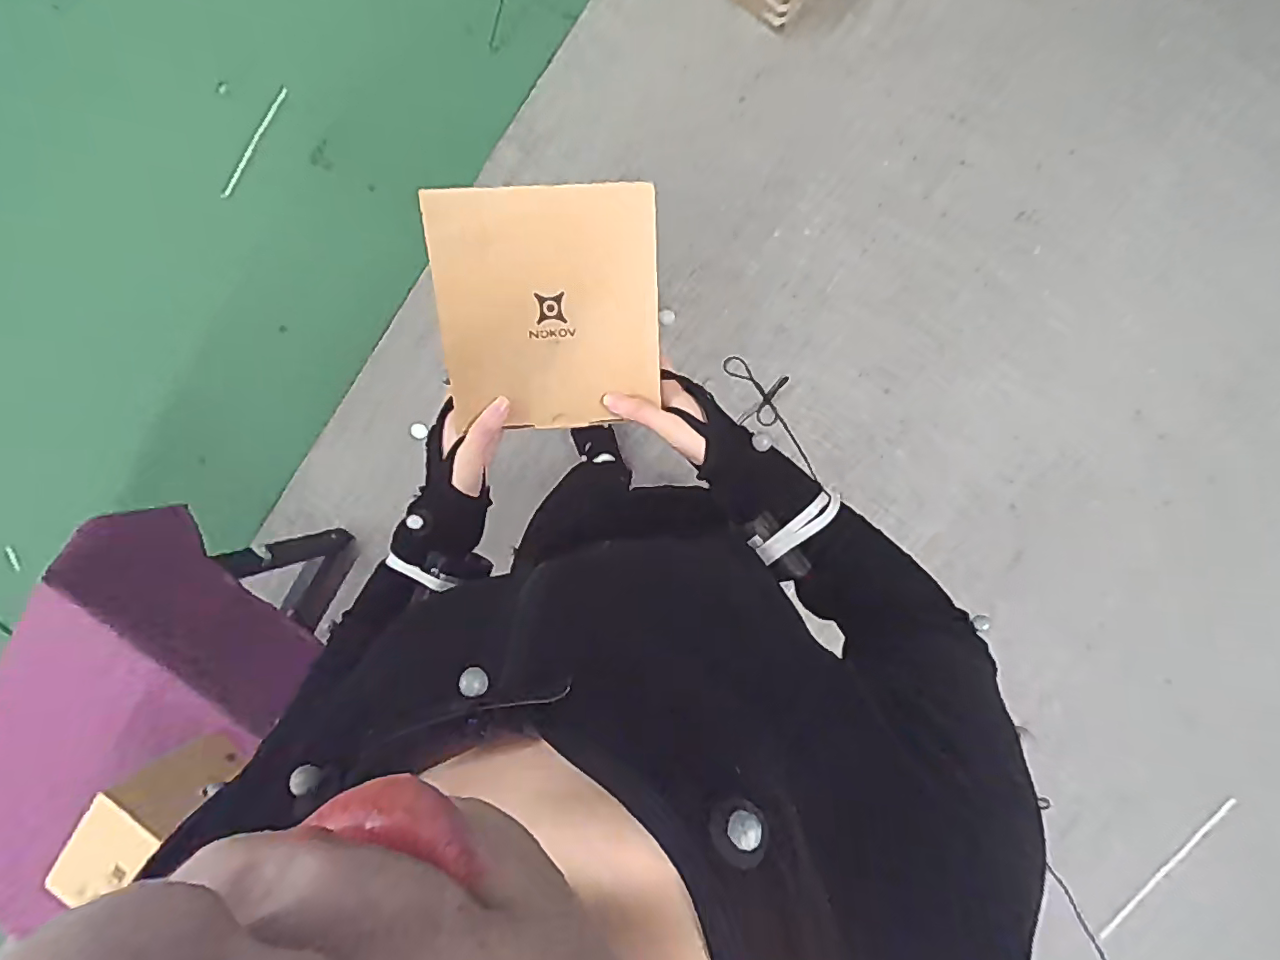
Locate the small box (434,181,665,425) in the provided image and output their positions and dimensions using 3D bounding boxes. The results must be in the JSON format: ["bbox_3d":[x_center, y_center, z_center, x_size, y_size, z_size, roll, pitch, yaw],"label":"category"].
[{"bbox_3d":[-0.070,-0.158,0.485,0.168,0.176,0.179,-3,113,-5],"label":"small box"}]

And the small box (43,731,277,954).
[{"bbox_3d":[-0.688,0.516,0.799,0.168,0.176,0.179,37,97,4],"label":"small box"}]
